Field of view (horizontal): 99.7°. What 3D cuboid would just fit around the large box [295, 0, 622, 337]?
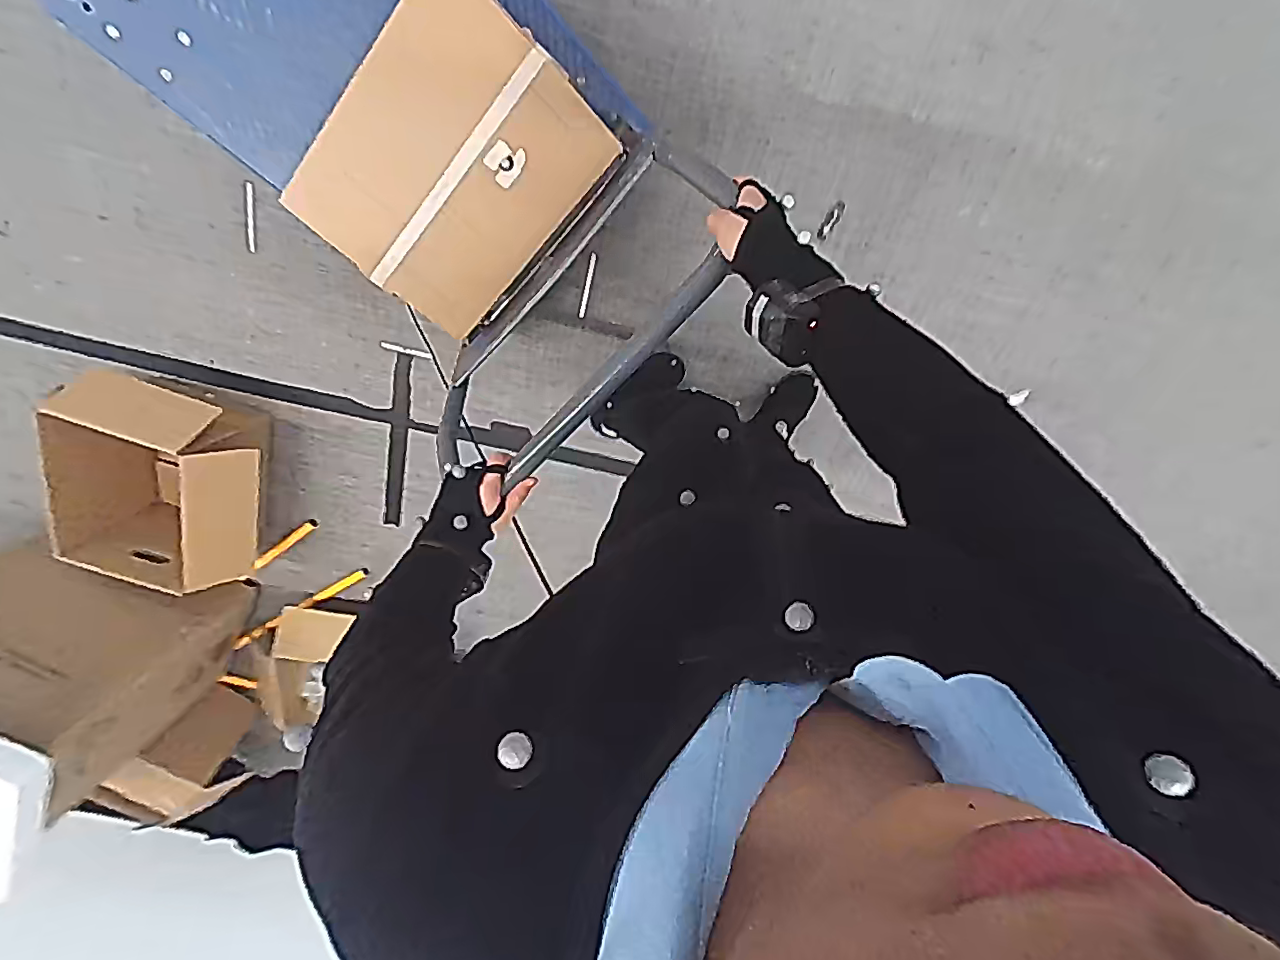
[{"bbox_3d":[-0.286,-0.529,0.921,0.320,0.320,0.408,37,110,-28],"label":"large box"}]
